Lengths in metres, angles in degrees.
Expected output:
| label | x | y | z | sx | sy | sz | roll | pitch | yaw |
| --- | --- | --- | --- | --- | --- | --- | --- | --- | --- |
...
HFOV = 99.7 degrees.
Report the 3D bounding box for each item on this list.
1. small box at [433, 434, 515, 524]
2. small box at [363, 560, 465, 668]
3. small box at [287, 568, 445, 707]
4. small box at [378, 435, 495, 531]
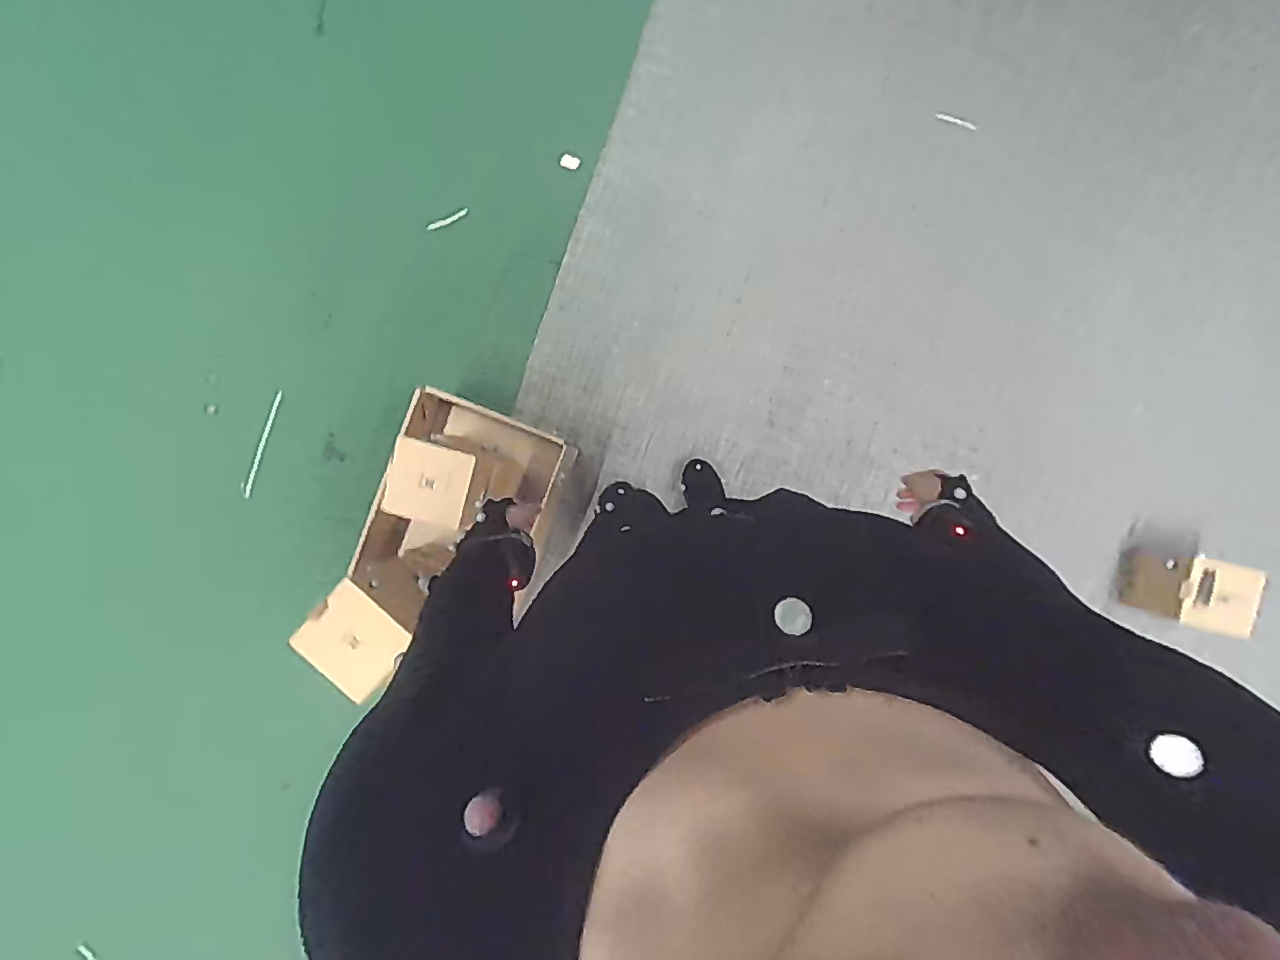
| label | x | y | z | sx | sy | sz | roll | pitch | yaw |
| --- | --- | --- | --- | --- | --- | --- | --- | --- | --- |
| small box | -0.442 | -0.004 | 1.370 | 0.179 | 0.176 | 0.168 | 24 | 93 | 1 |
| small box | -0.520 | 0.289 | 1.210 | 0.179 | 0.176 | 0.168 | 20 | 91 | 2 |
| small box | -0.516 | 0.291 | 1.048 | 0.179 | 0.176 | 0.168 | 42 | 91 | 1 |
| small box | -0.444 | 0.003 | 1.206 | 0.179 | 0.176 | 0.168 | 15 | 94 | -1 |
